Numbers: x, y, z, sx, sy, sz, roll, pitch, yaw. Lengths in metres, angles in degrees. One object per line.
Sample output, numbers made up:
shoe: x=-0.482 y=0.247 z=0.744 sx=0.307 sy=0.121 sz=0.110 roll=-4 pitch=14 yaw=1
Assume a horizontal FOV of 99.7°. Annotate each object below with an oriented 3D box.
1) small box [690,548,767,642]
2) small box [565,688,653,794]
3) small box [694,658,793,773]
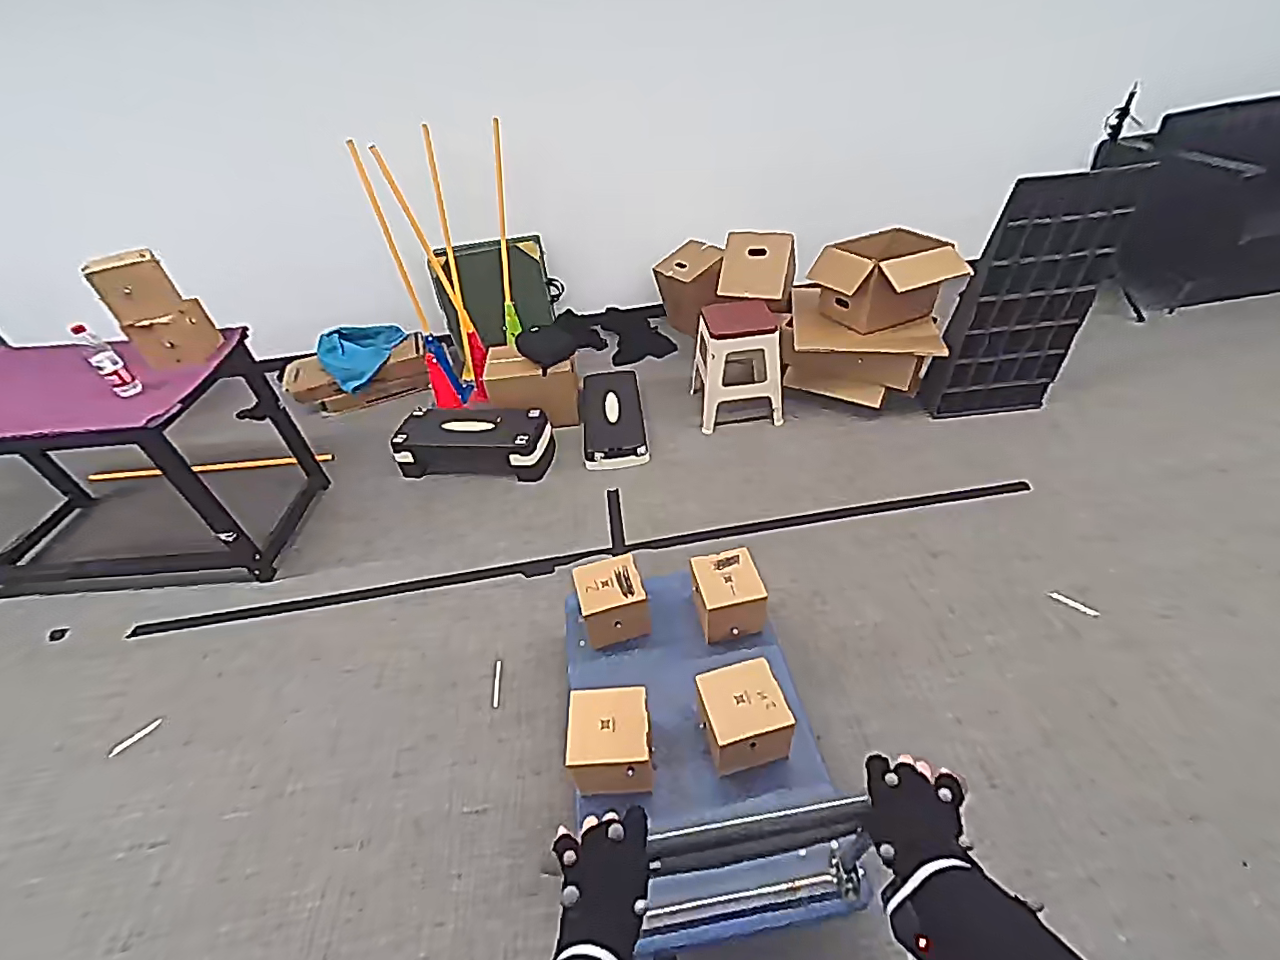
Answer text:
small box: x=0.238 y=0.319 z=1.498 sx=0.168 sy=0.176 sz=0.179 roll=-11 pitch=43 yaw=-5
small box: x=-0.066 y=0.594 z=1.227 sx=0.179 sy=0.176 sz=0.168 roll=-4 pitch=41 yaw=1
small box: x=0.234 y=0.544 z=1.244 sx=0.179 sy=0.176 sz=0.168 roll=-13 pitch=42 yaw=-7
